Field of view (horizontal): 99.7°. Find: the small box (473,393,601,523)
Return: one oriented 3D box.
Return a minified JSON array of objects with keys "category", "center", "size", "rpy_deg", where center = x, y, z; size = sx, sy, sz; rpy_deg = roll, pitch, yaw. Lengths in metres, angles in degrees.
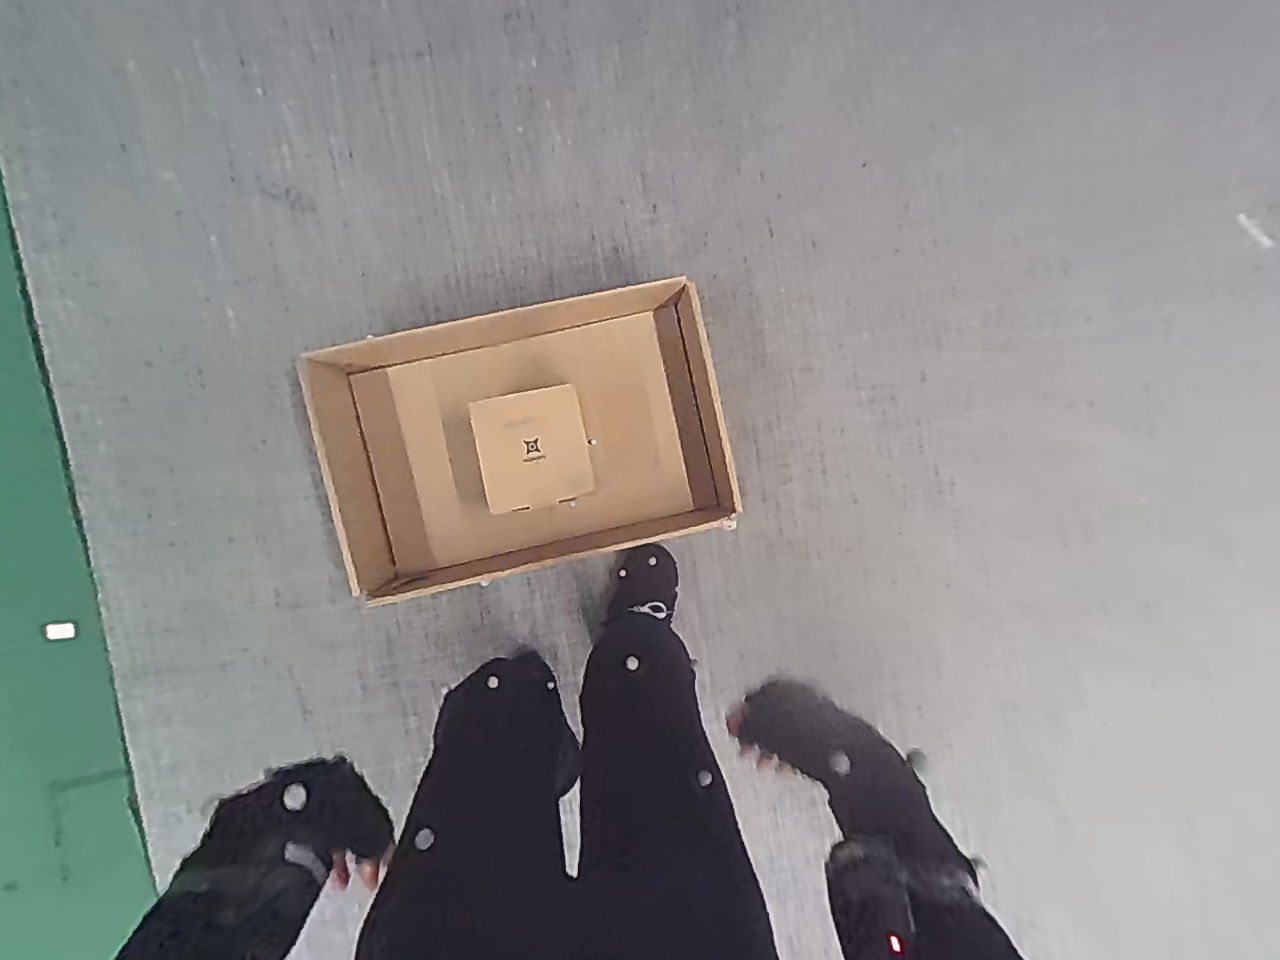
[{"category":"small box","center":[-0.159,-0.035,0.893],"size":[0.168,0.176,0.179],"rpy_deg":[-11,91,-3]}]
